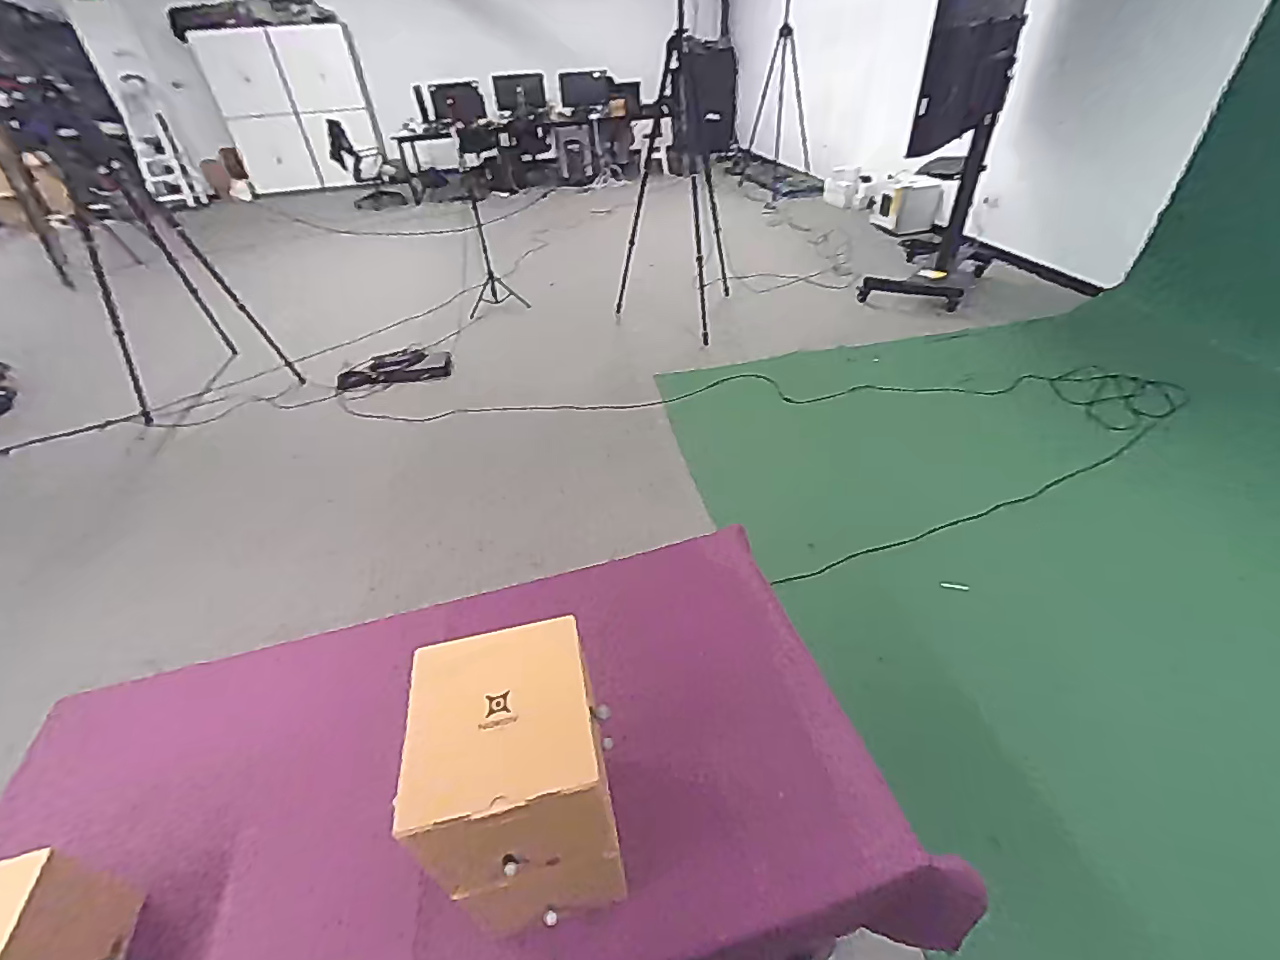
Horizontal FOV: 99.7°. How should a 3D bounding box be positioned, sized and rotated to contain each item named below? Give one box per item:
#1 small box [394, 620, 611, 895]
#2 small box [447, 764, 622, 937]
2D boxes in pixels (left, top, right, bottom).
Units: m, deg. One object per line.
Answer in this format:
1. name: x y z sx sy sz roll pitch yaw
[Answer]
1. small box: -0.127 0.275 0.545 0.168 0.176 0.179 -11 41 -8
2. small box: -0.121 0.402 0.648 0.168 0.176 0.179 -11 40 -7
